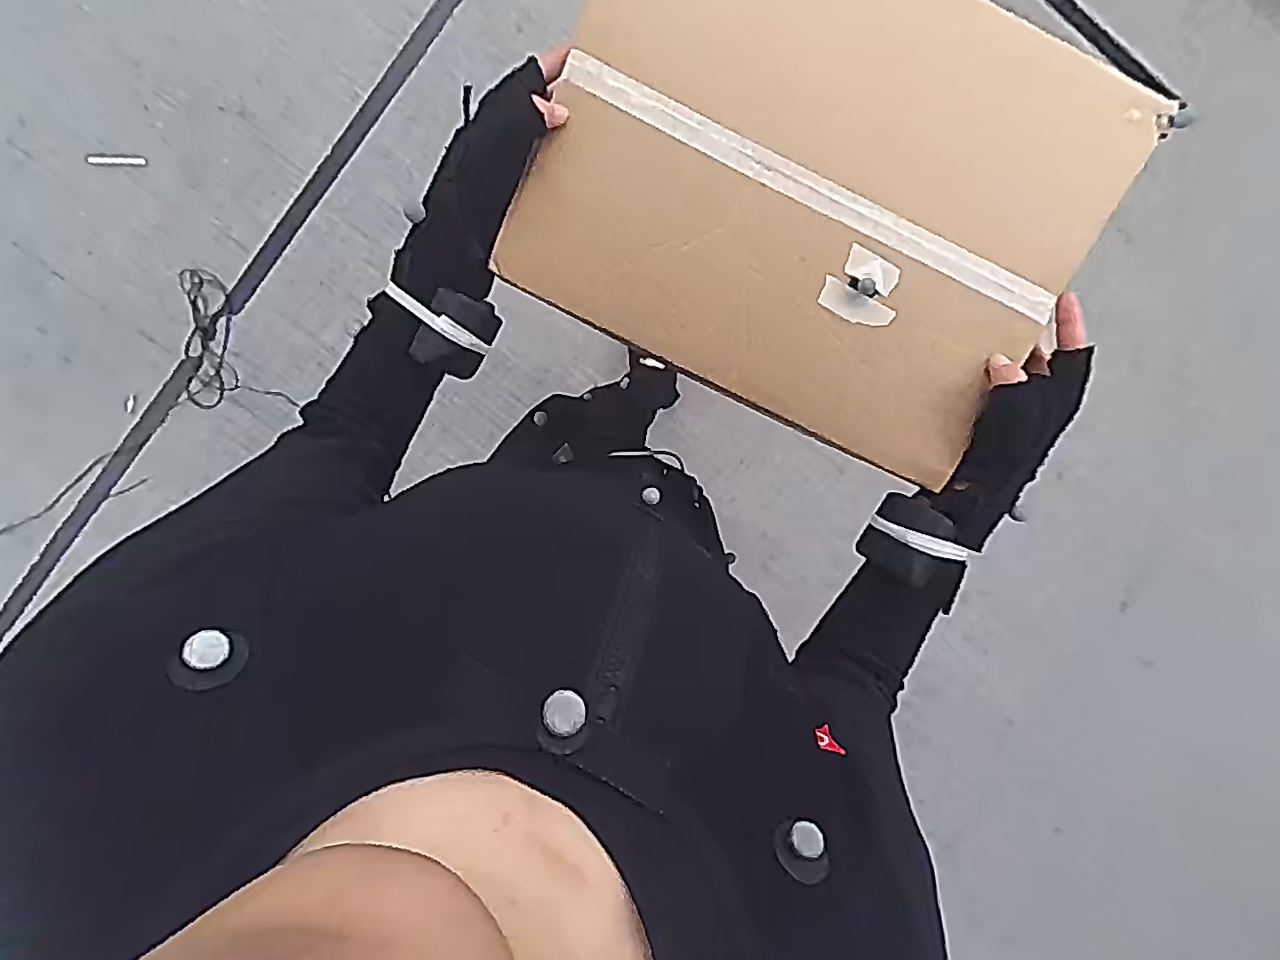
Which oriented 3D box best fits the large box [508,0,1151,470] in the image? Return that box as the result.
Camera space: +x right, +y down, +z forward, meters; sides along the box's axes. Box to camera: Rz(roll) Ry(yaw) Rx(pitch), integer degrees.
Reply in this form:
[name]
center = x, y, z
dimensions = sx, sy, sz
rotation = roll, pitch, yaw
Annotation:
[large box]
center = 0.138, -0.254, 0.561
dimensions = 0.408, 0.320, 0.320
rotation = 26, 103, -3
